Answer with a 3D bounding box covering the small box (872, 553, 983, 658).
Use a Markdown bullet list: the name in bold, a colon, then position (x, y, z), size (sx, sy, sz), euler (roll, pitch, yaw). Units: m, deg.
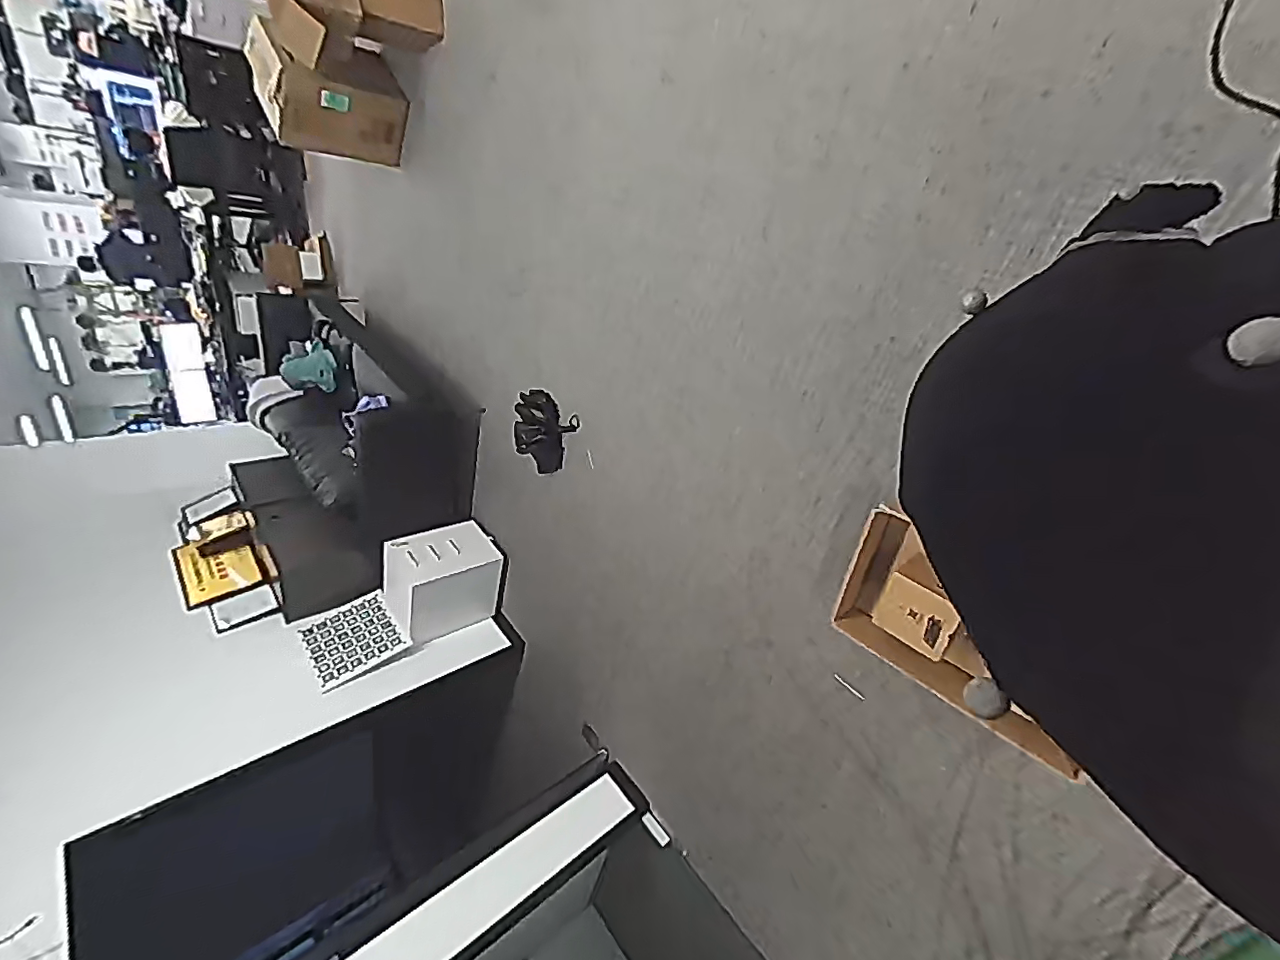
- **small box**: position (0.732, 0.309, 1.374), size (0.179, 0.176, 0.168), euler (33, 125, 38)
